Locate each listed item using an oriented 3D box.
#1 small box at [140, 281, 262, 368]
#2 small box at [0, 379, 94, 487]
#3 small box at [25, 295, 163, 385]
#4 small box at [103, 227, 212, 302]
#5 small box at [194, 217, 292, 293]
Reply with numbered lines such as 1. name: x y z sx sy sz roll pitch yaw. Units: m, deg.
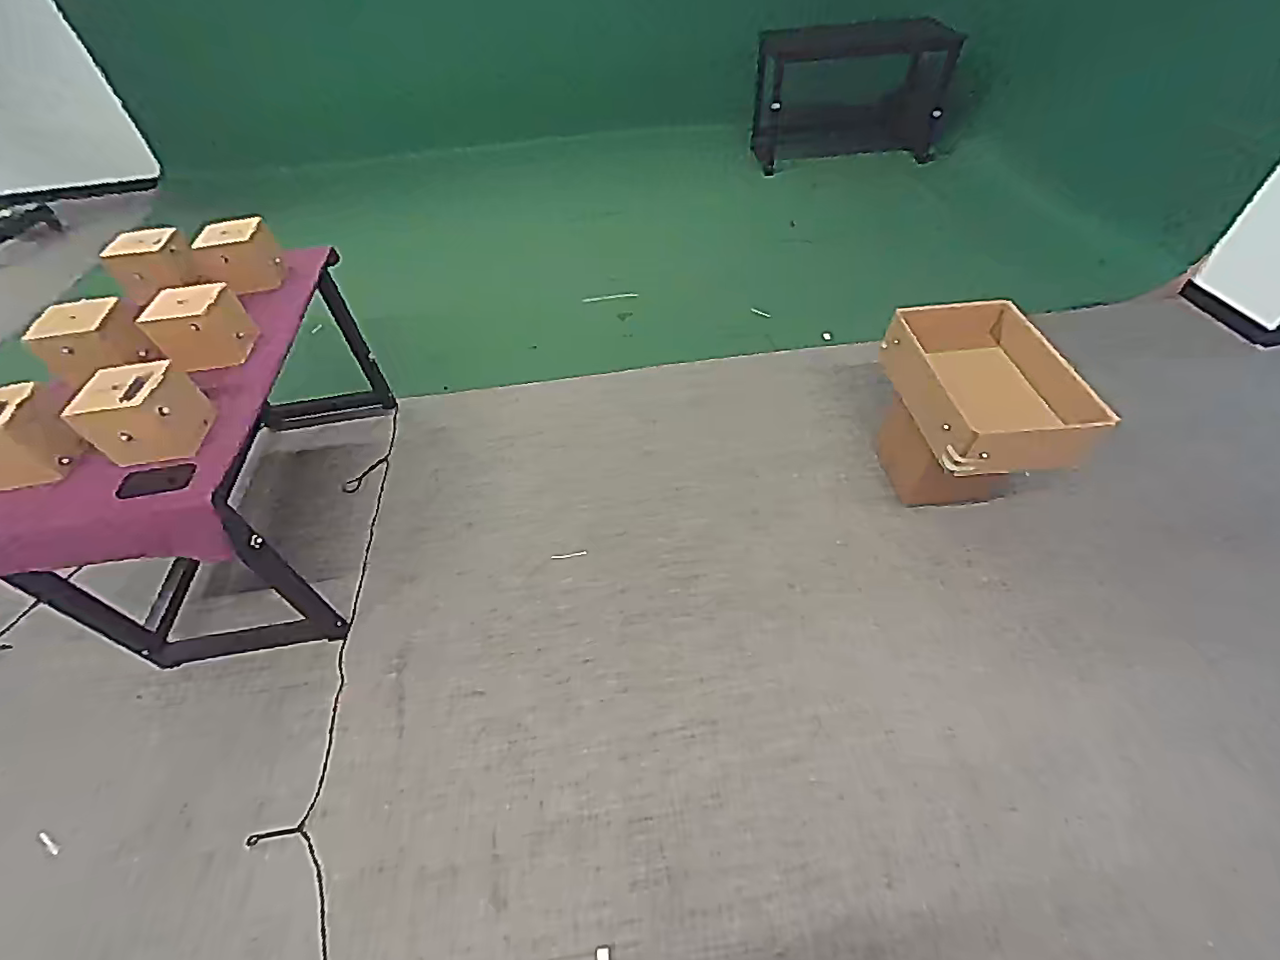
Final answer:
1. small box: -1.216 -0.430 1.513 0.179 0.176 0.168 -8 49 -2
2. small box: -1.442 -0.105 1.246 0.179 0.176 0.168 -11 49 -6
3. small box: -1.490 -0.381 1.489 0.179 0.176 0.168 -10 50 -6
4. small box: -1.565 -0.700 1.767 0.179 0.176 0.168 -10 50 -5
5. small box: -1.292 -0.733 1.774 0.179 0.176 0.168 -10 51 -3
